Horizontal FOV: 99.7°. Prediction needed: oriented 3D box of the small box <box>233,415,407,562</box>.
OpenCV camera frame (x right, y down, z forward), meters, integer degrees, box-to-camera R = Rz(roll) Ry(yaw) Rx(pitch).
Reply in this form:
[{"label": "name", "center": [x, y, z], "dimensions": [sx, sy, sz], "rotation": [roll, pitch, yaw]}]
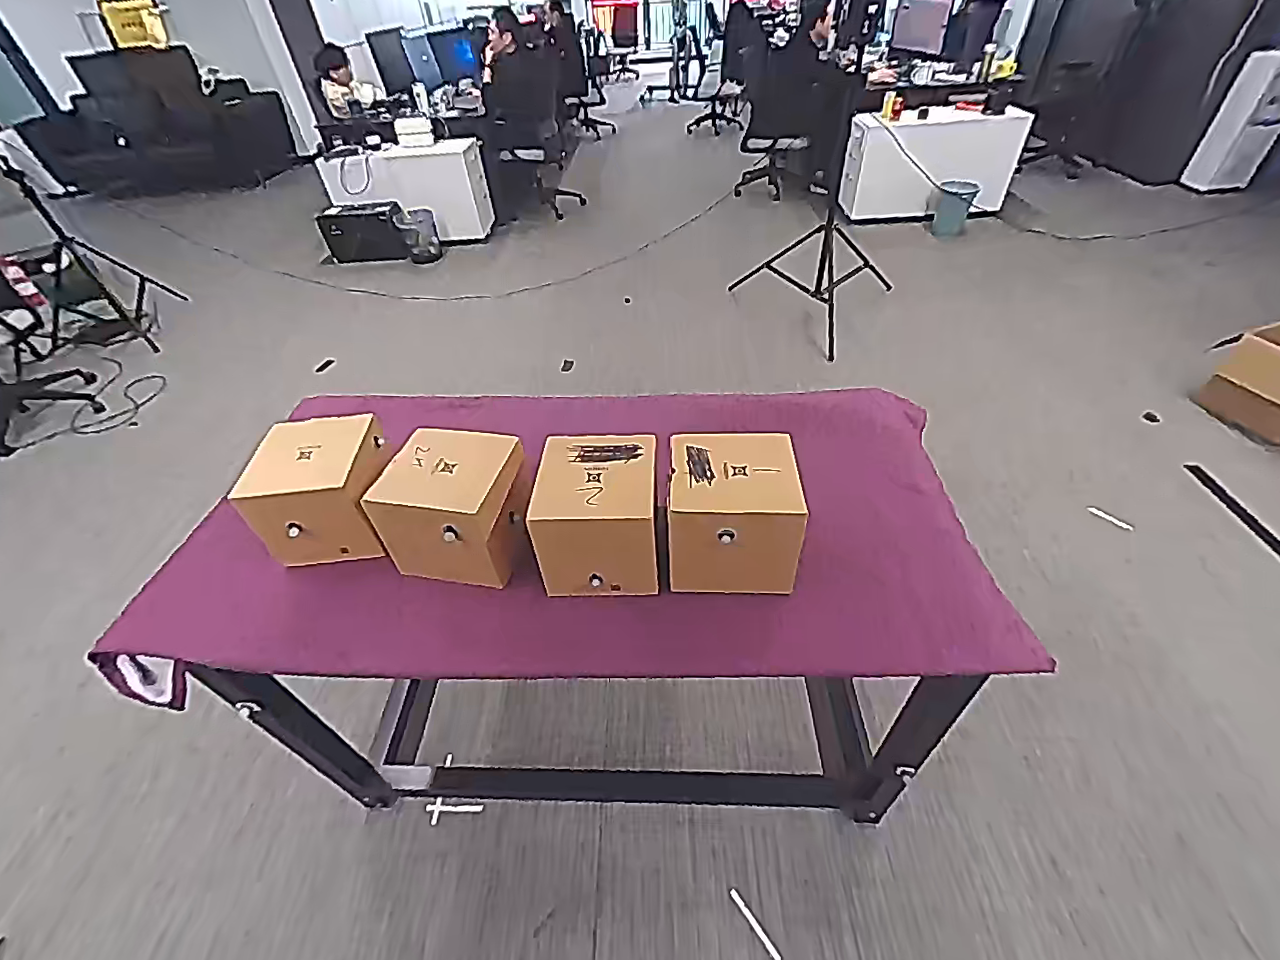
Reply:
[{"label": "small box", "center": [-0.503, 0.020, 0.886], "dimensions": [0.168, 0.176, 0.179], "rotation": [-7, 44, -2]}]
